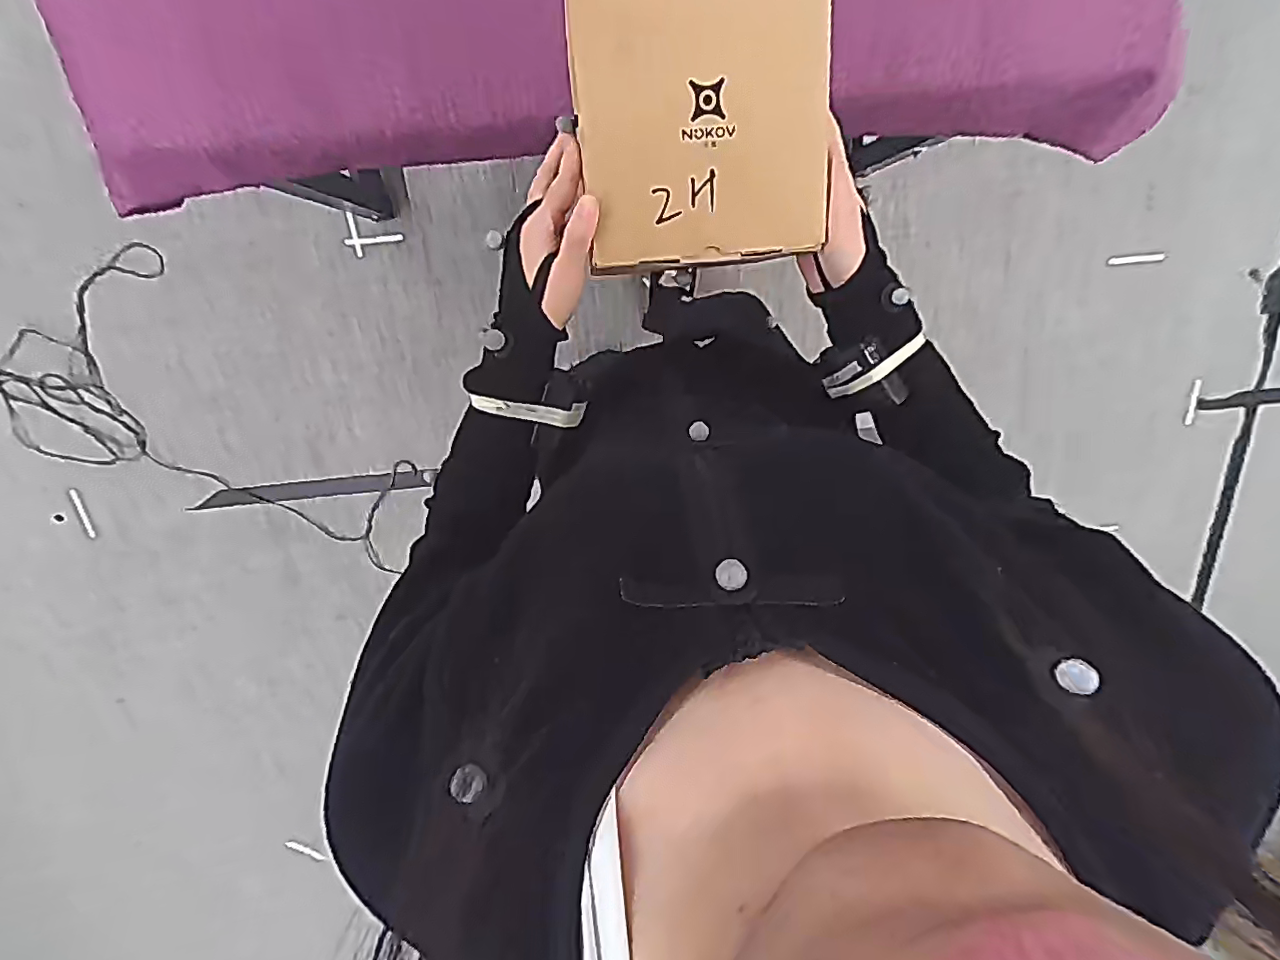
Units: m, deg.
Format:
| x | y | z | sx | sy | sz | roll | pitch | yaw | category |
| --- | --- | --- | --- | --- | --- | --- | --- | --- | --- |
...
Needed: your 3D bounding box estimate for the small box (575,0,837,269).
| x | y | z | sx | sy | sz | roll | pitch | yaw | category |
| --- | --- | --- | --- | --- | --- | --- | --- | --- | --- |
| 0.038 | -0.270 | 0.424 | 0.168 | 0.176 | 0.179 | -6 | 108 | -3 | small box |
